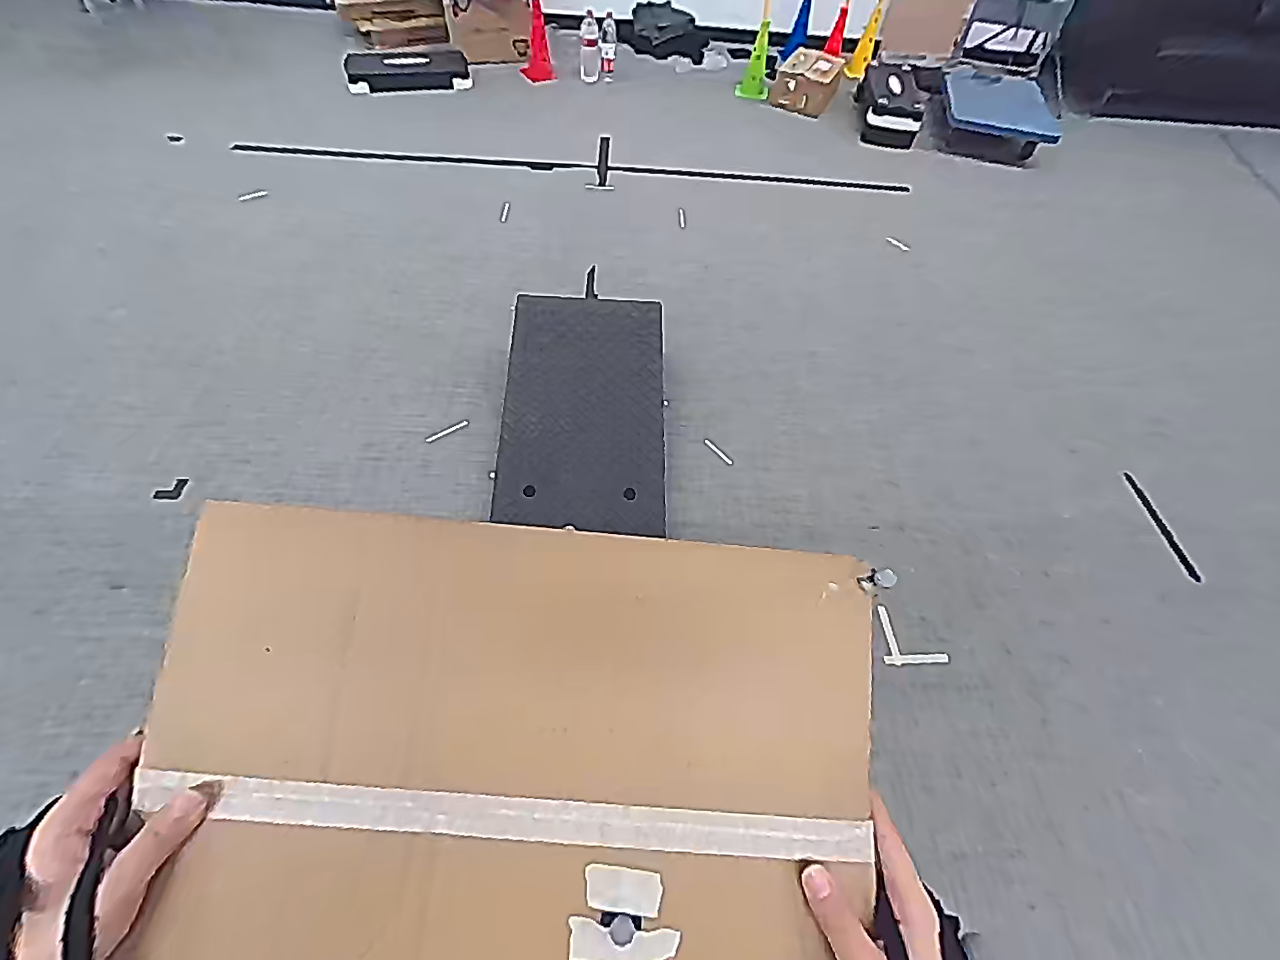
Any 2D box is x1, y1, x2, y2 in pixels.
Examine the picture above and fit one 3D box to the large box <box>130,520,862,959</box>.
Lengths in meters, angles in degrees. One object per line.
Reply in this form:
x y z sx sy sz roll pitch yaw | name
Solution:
-0.077 0.218 0.458 0.408 0.320 0.320 5 80 -2 | large box
